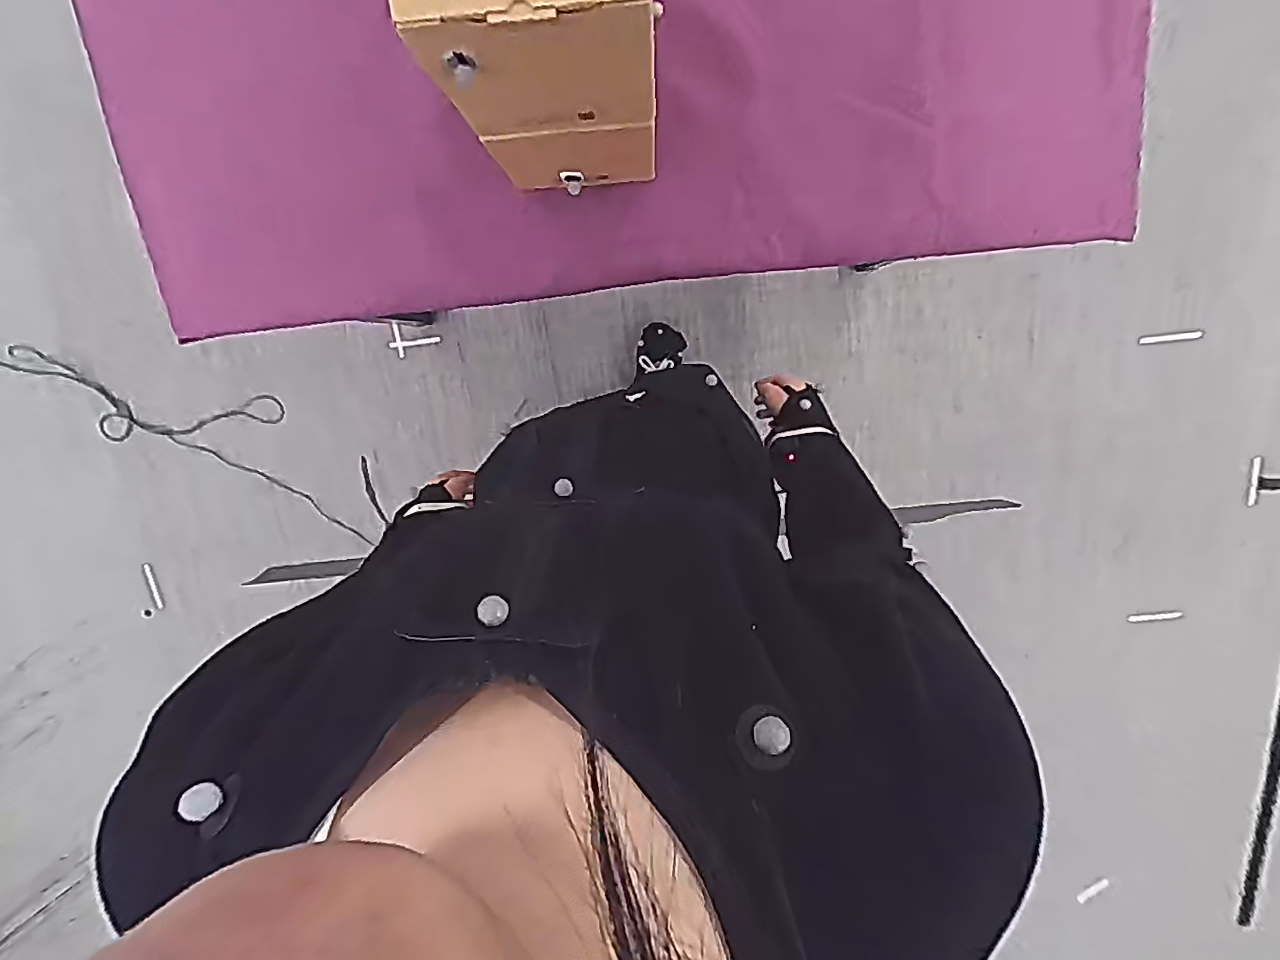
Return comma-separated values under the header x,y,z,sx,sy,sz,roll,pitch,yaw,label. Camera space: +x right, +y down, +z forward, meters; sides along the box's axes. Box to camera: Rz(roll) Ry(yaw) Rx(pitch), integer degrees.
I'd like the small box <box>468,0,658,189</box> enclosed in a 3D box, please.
x,y,z,sx,sy,sz,roll,pitch,yaw,label
-0.070,-0.424,0.558,0.168,0.176,0.179,-3,104,2,small box

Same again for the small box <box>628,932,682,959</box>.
x,y,z,sx,sy,sz,roll,pitch,yaw,label
0.056,1.636,1.765,0.168,0.176,0.179,-12,104,2,small box
